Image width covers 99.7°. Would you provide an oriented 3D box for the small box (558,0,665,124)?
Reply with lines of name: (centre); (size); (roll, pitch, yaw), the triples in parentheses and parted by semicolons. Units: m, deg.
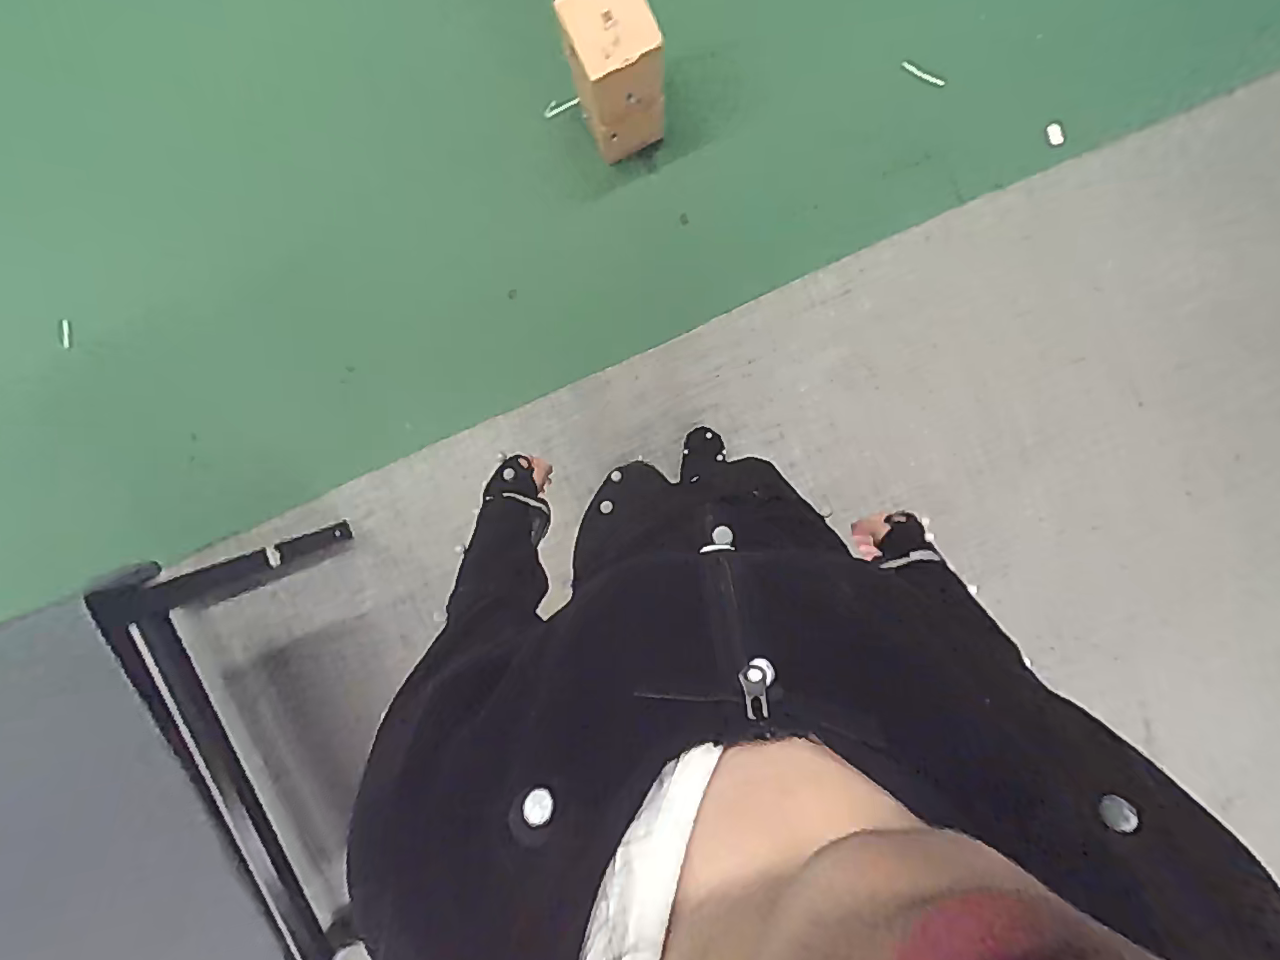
small box: (-0.056, -0.920, 1.159); (0.168, 0.176, 0.179); (-25, 94, 4)
